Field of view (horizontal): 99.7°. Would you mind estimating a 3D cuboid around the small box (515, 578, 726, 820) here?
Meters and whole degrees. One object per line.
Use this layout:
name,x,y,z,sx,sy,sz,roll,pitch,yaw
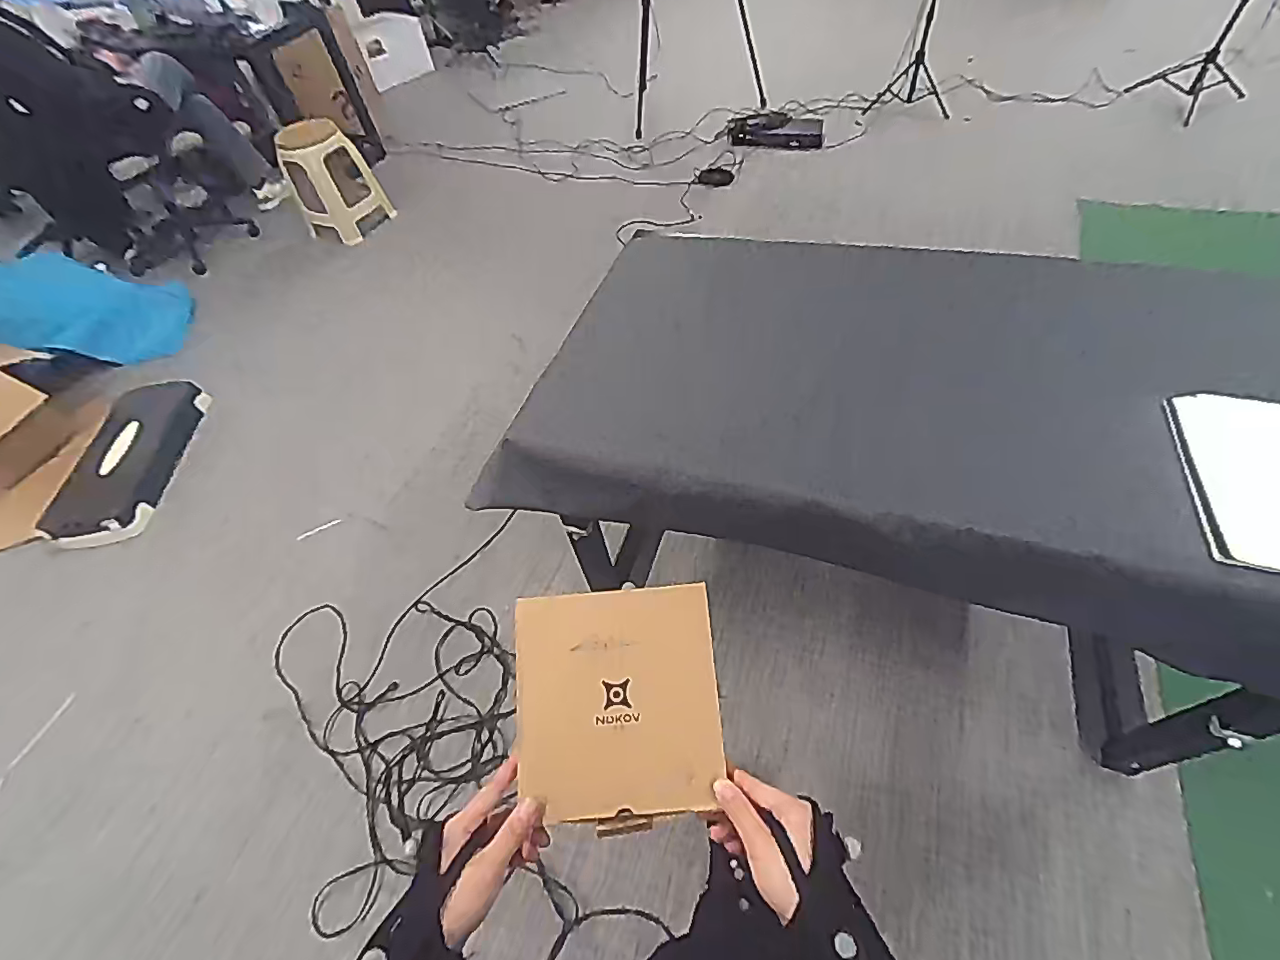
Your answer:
small box,-0.018,0.194,0.515,0.168,0.176,0.179,-5,73,-1
